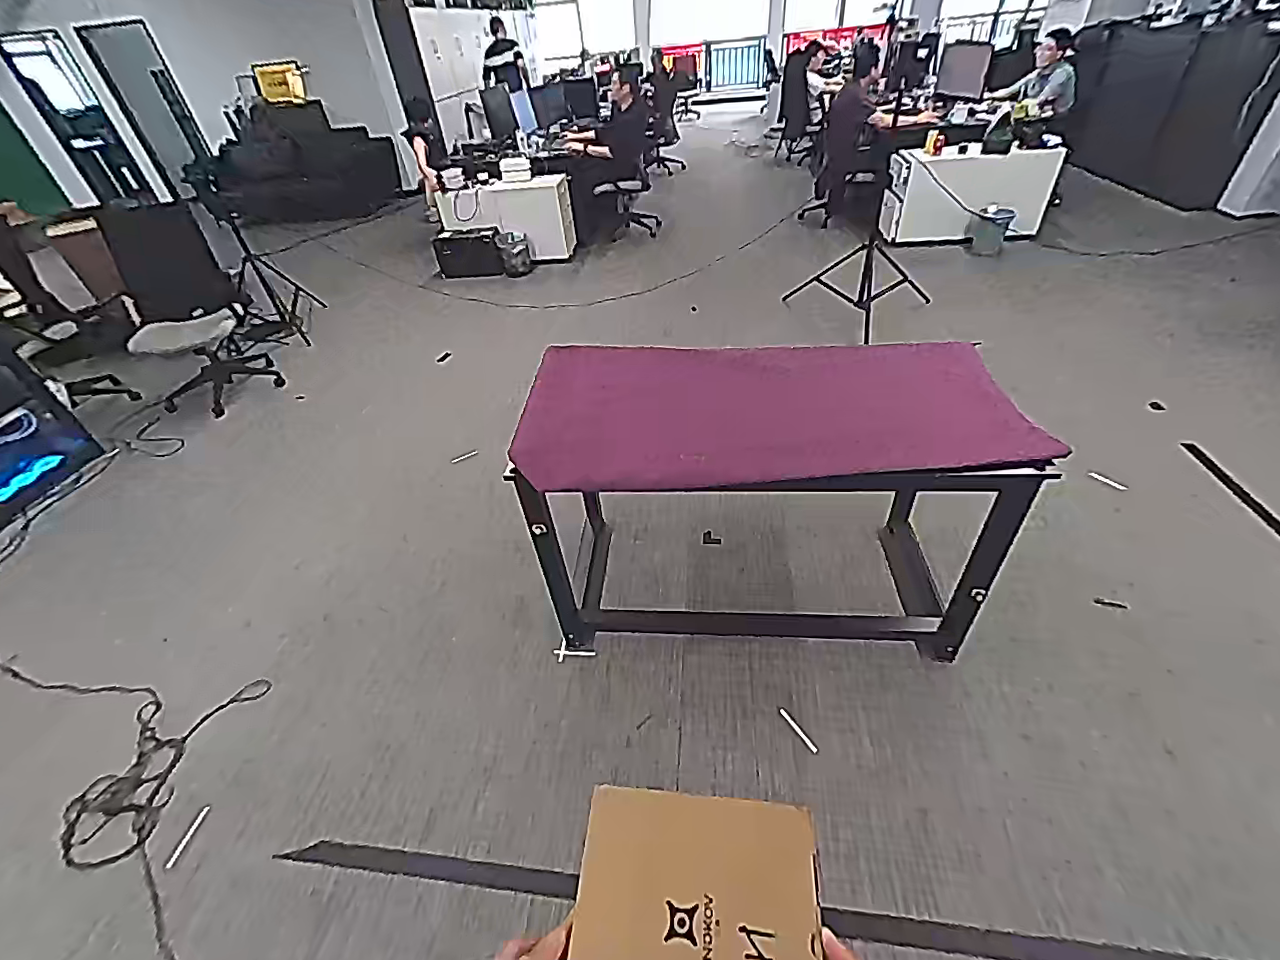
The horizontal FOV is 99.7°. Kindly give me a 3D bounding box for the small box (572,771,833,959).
[{"bbox_3d":[0.054,0.353,0.436,0.179,0.176,0.168,0,50,10],"label":"small box"}]
